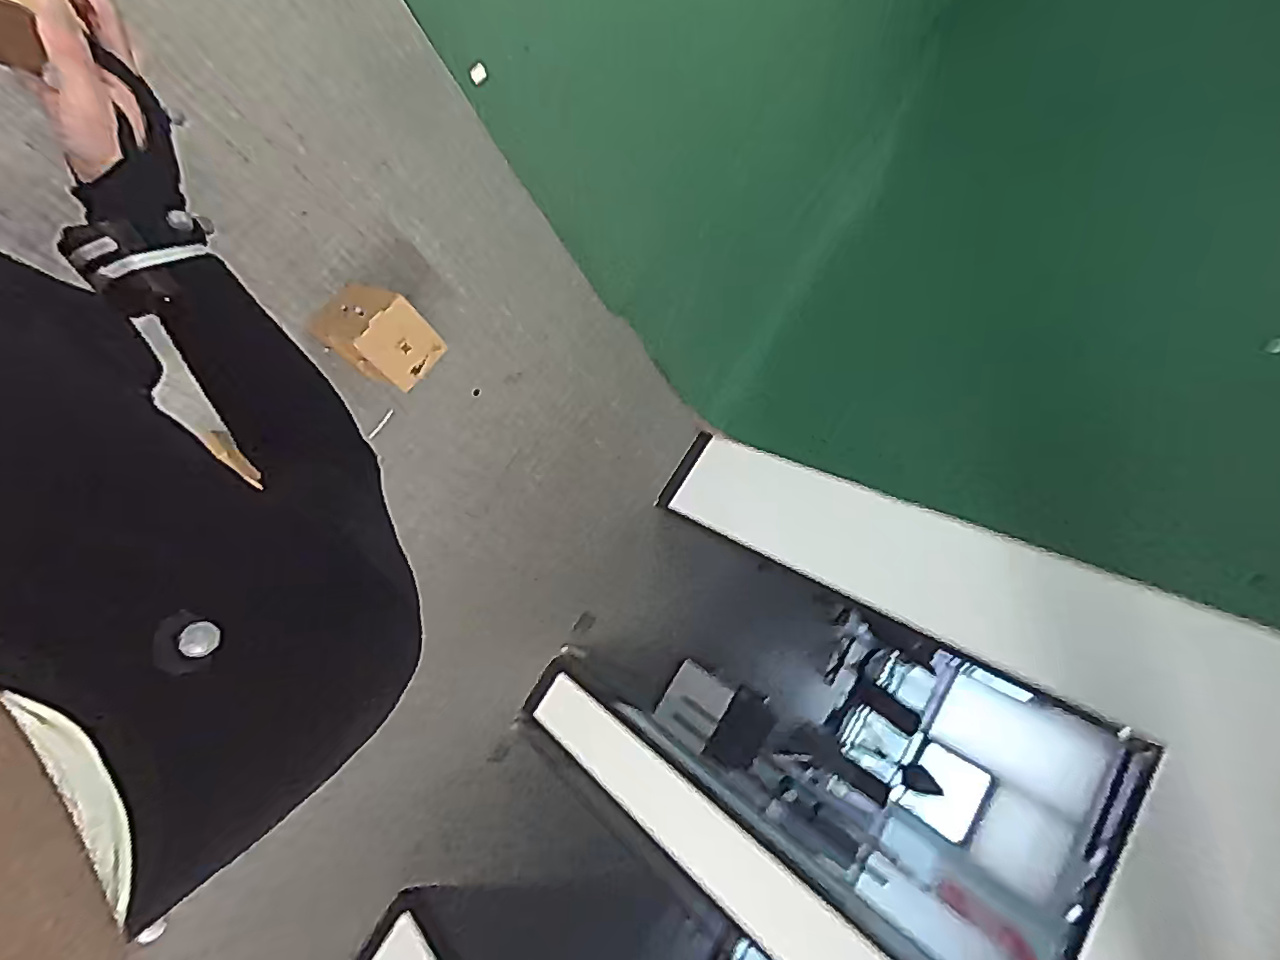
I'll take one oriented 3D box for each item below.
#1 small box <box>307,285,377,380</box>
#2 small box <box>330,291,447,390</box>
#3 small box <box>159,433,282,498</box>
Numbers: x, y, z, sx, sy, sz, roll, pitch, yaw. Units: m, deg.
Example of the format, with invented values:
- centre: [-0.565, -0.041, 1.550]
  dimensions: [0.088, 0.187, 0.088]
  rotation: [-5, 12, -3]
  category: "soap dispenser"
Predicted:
- centre: [-0.752, -0.403, 1.457]
  dimensions: [0.179, 0.176, 0.168]
  rotation: [-52, 140, -15]
  category: "small box"
- centre: [-0.633, -0.354, 1.355]
  dimensions: [0.168, 0.176, 0.179]
  rotation: [-53, 139, -15]
  category: "small box"
- centre: [-1.036, 0.007, 1.345]
  dimensions: [0.168, 0.176, 0.179]
  rotation: [-50, 139, -22]
  category: "small box"
